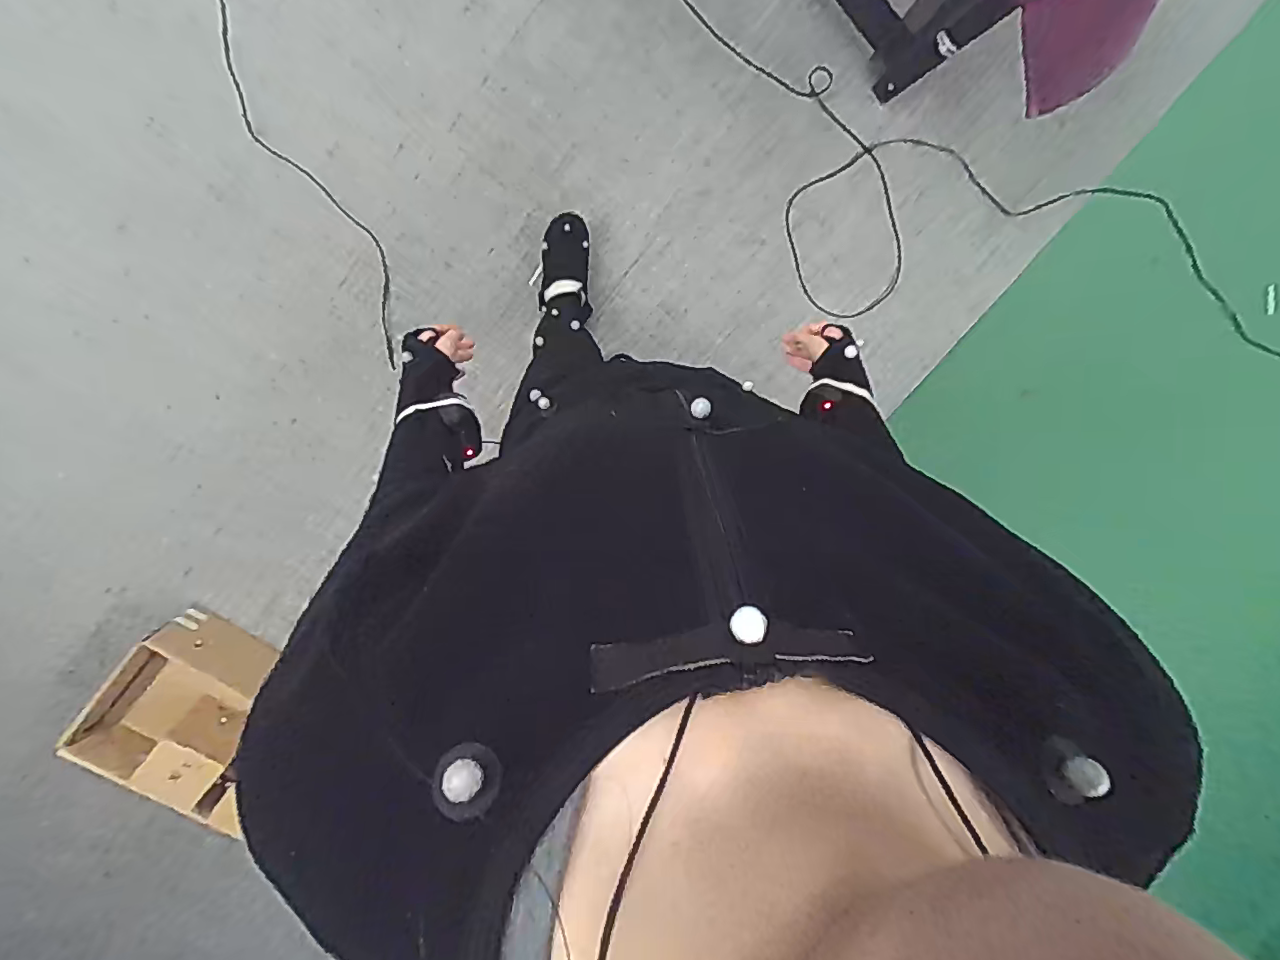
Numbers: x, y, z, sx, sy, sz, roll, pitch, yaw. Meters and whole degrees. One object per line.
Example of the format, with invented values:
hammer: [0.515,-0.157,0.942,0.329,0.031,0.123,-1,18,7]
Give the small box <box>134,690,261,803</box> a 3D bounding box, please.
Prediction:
small box: [-1.173,0.708,1.450,0.168,0.176,0.179,40,97,-17]
